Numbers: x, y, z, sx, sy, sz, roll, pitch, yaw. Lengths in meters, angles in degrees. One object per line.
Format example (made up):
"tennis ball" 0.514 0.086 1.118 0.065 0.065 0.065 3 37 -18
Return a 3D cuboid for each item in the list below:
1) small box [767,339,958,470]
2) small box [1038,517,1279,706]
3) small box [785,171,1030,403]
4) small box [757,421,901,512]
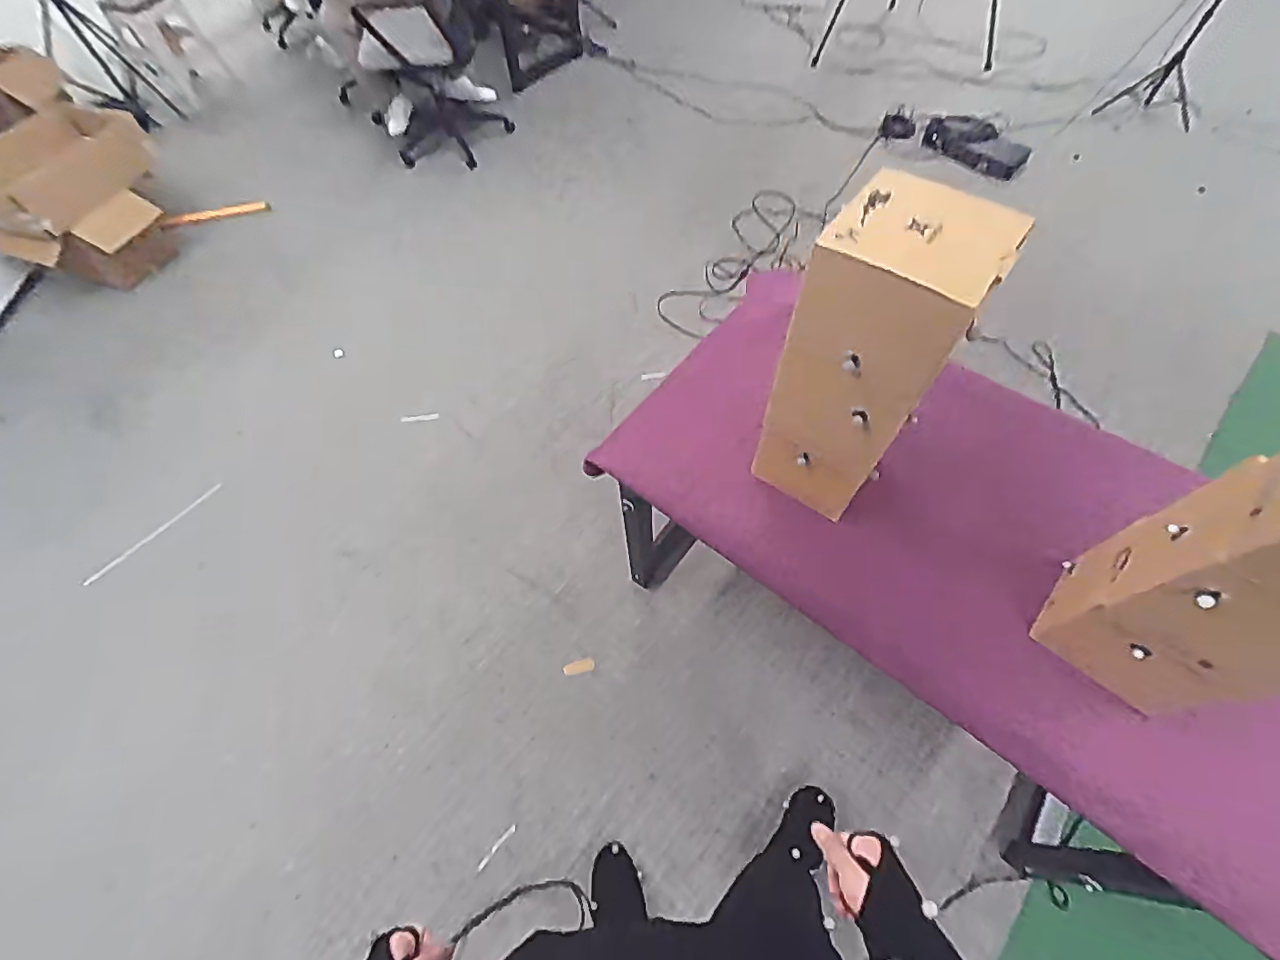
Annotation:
"small box" 0.308 -0.139 0.782 0.179 0.176 0.168 34 67 21
"small box" 0.713 0.190 0.756 0.179 0.176 0.168 37 68 21
"small box" 0.298 -0.217 0.639 0.179 0.176 0.168 34 67 20
"small box" 0.323 -0.067 0.931 0.179 0.176 0.168 32 67 20
